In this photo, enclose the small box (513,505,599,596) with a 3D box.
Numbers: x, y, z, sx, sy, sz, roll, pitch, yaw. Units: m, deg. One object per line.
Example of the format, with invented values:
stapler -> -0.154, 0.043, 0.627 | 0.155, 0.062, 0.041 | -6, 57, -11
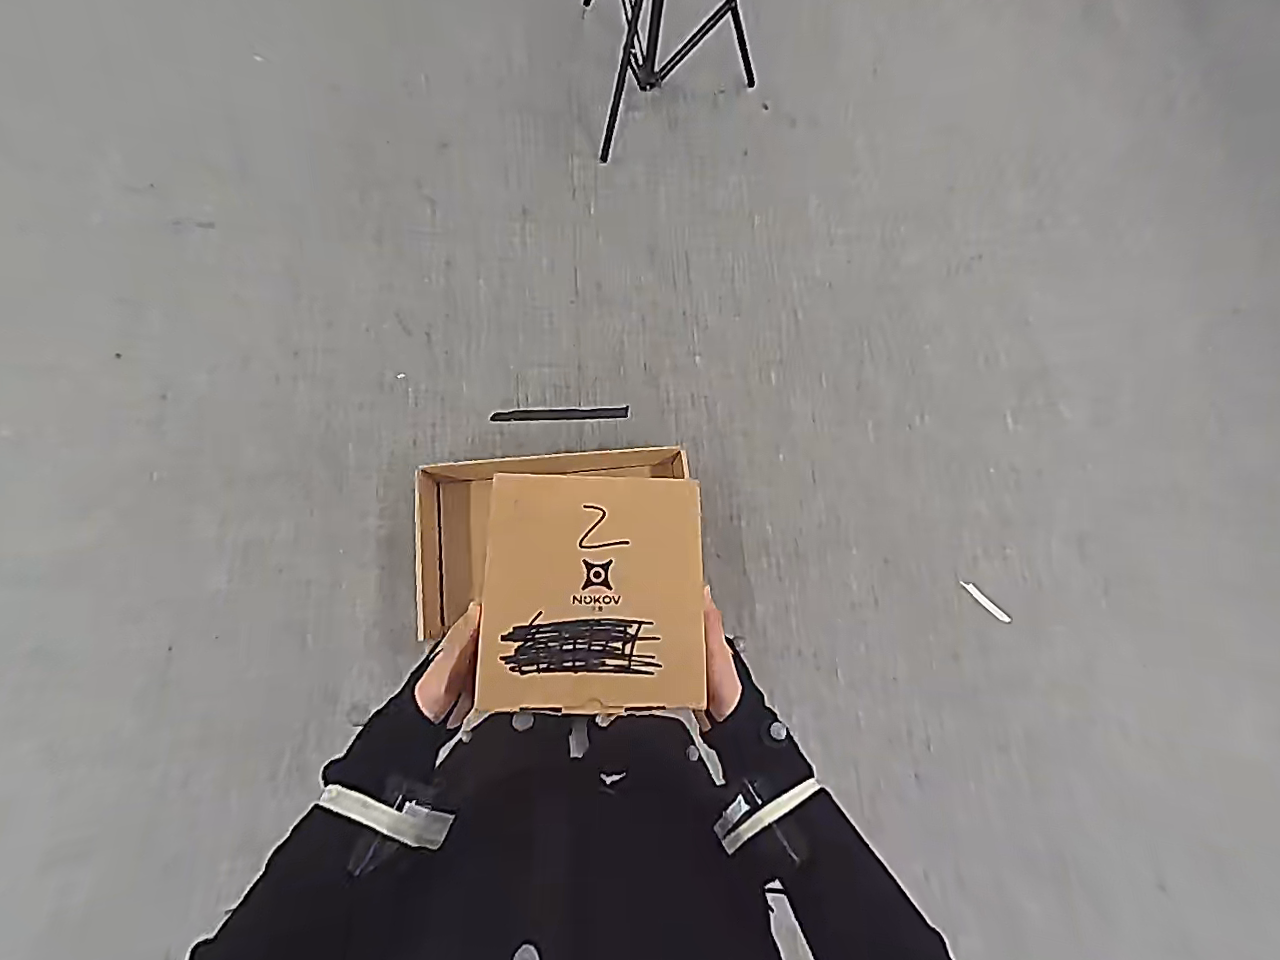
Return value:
small box -> -0.193, 0.168, 1.252 | 0.168, 0.176, 0.179 | -10, 79, -8
